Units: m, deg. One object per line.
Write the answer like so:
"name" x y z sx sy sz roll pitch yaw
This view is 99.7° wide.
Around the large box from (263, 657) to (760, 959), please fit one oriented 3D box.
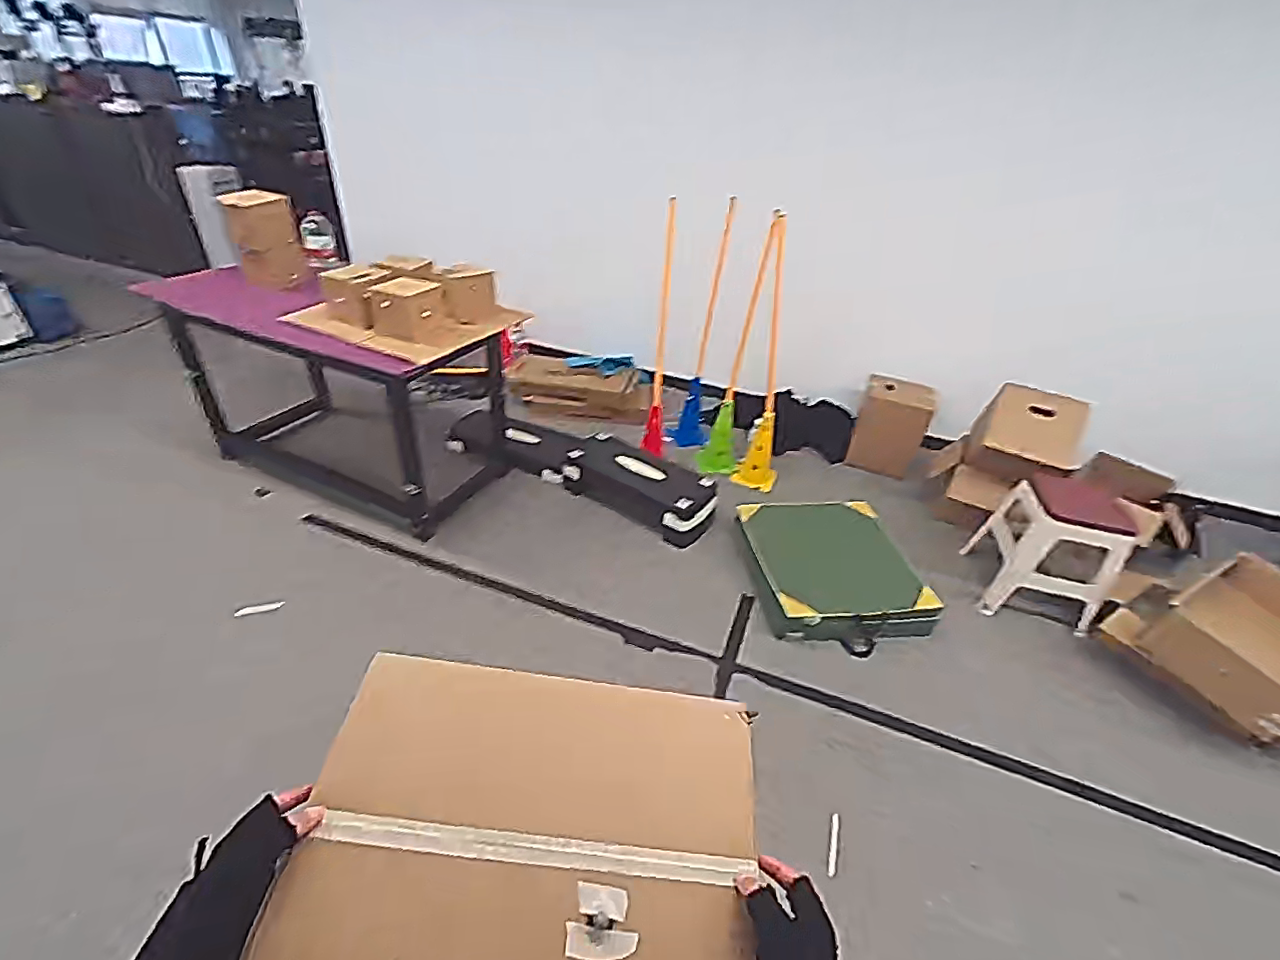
"large box" -0.110 0.432 0.601 0.408 0.320 0.320 9 46 -2
